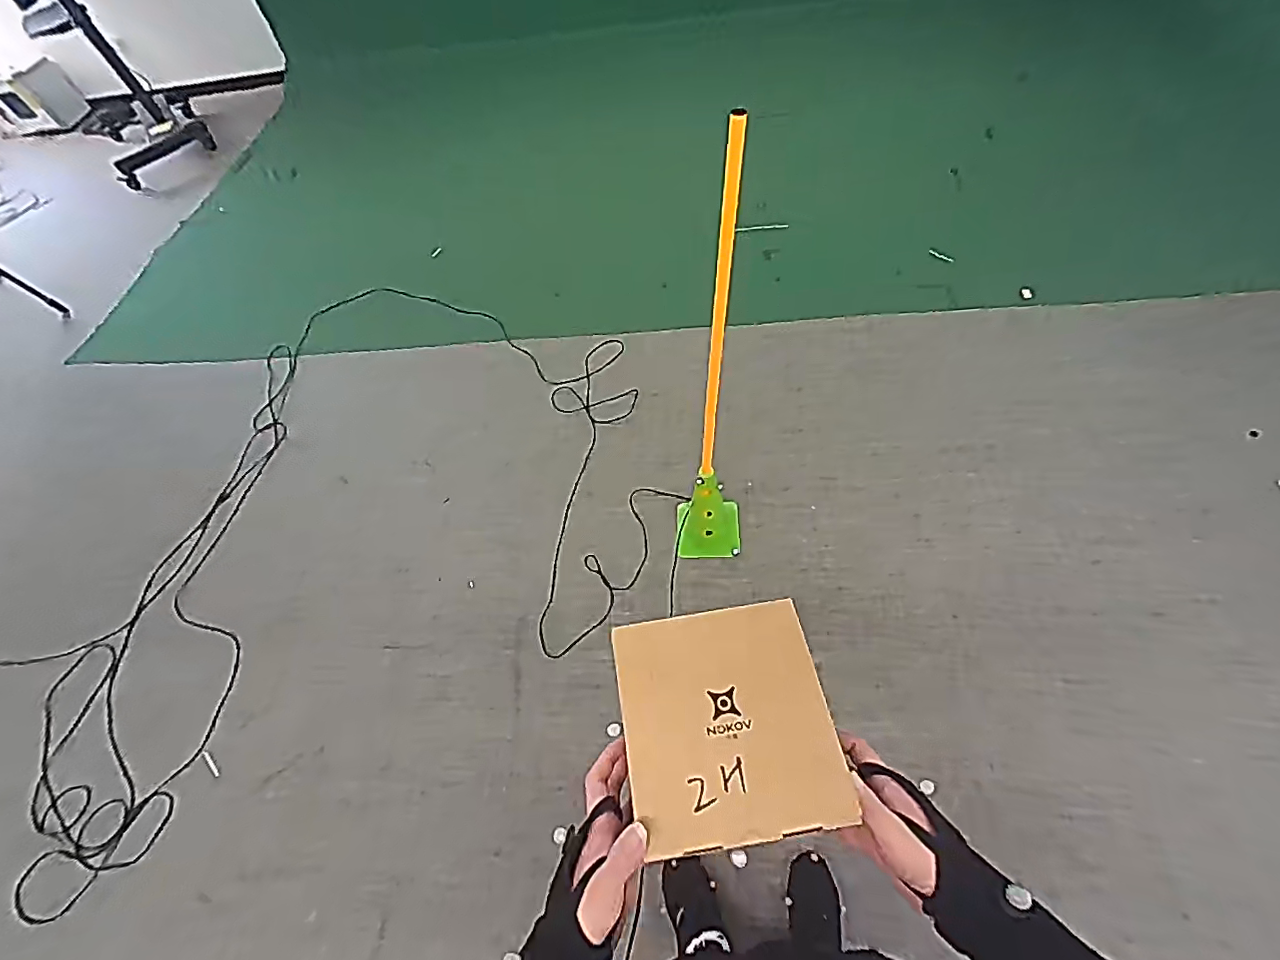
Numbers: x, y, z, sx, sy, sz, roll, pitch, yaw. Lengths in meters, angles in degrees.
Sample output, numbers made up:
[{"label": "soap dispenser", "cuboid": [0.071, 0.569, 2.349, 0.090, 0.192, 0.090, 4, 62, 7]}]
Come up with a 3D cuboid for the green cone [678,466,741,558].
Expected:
[{"label": "green cone", "cuboid": [0.202, 0.070, 1.619, 0.202, 0.368, 0.200, -2, 57, 8]}]

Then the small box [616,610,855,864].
[{"label": "small box", "cuboid": [0.070, 0.242, 0.505, 0.168, 0.176, 0.179, -8, 56, -2]}]
